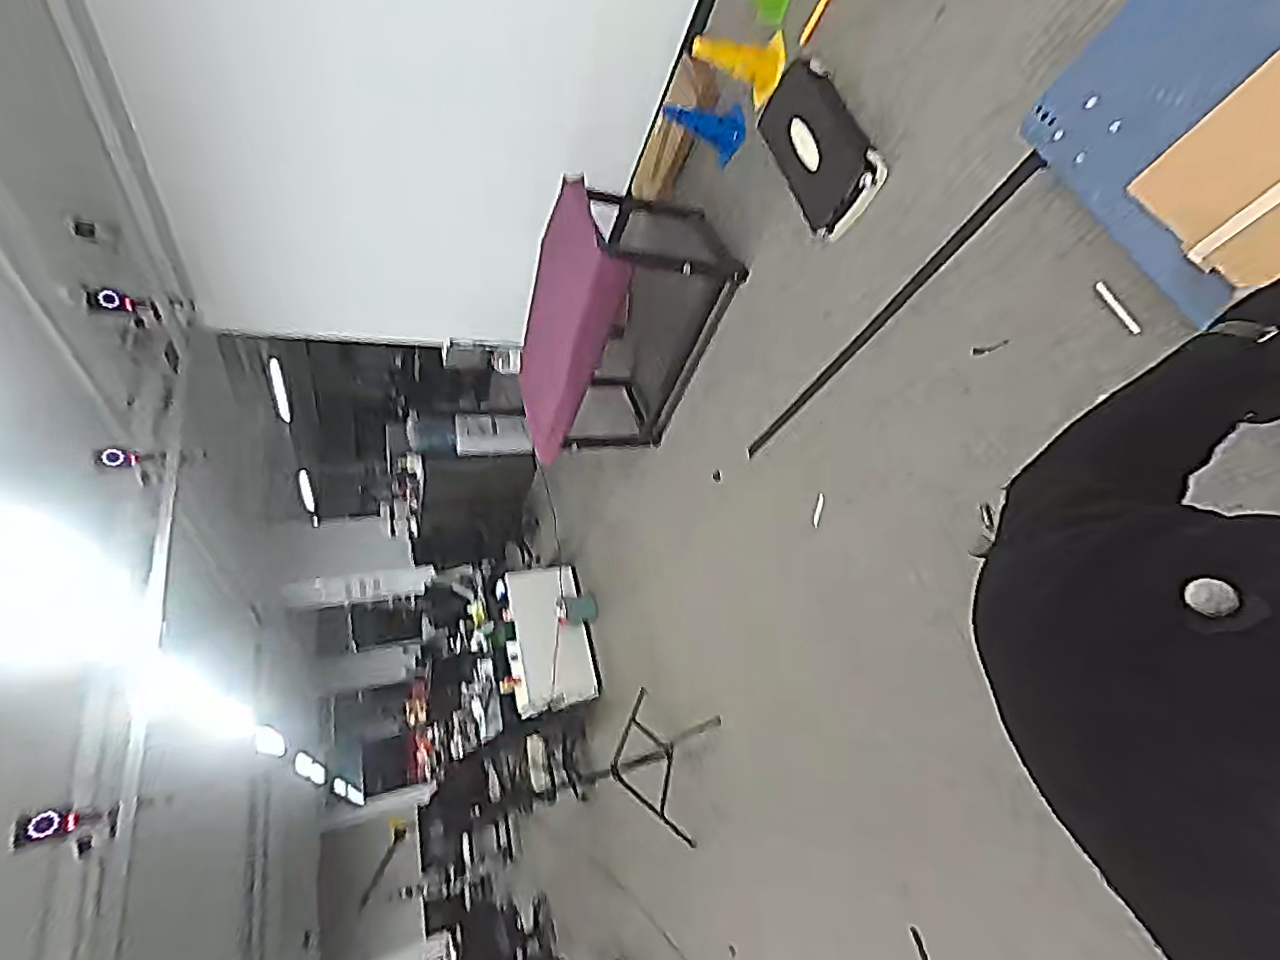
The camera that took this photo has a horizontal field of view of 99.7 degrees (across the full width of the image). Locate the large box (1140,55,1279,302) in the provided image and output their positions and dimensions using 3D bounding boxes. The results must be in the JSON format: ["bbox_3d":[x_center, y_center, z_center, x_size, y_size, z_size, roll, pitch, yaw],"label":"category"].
[{"bbox_3d":[1.015,-0.442,0.687,0.408,0.320,0.320,-55,45,49],"label":"large box"}]
